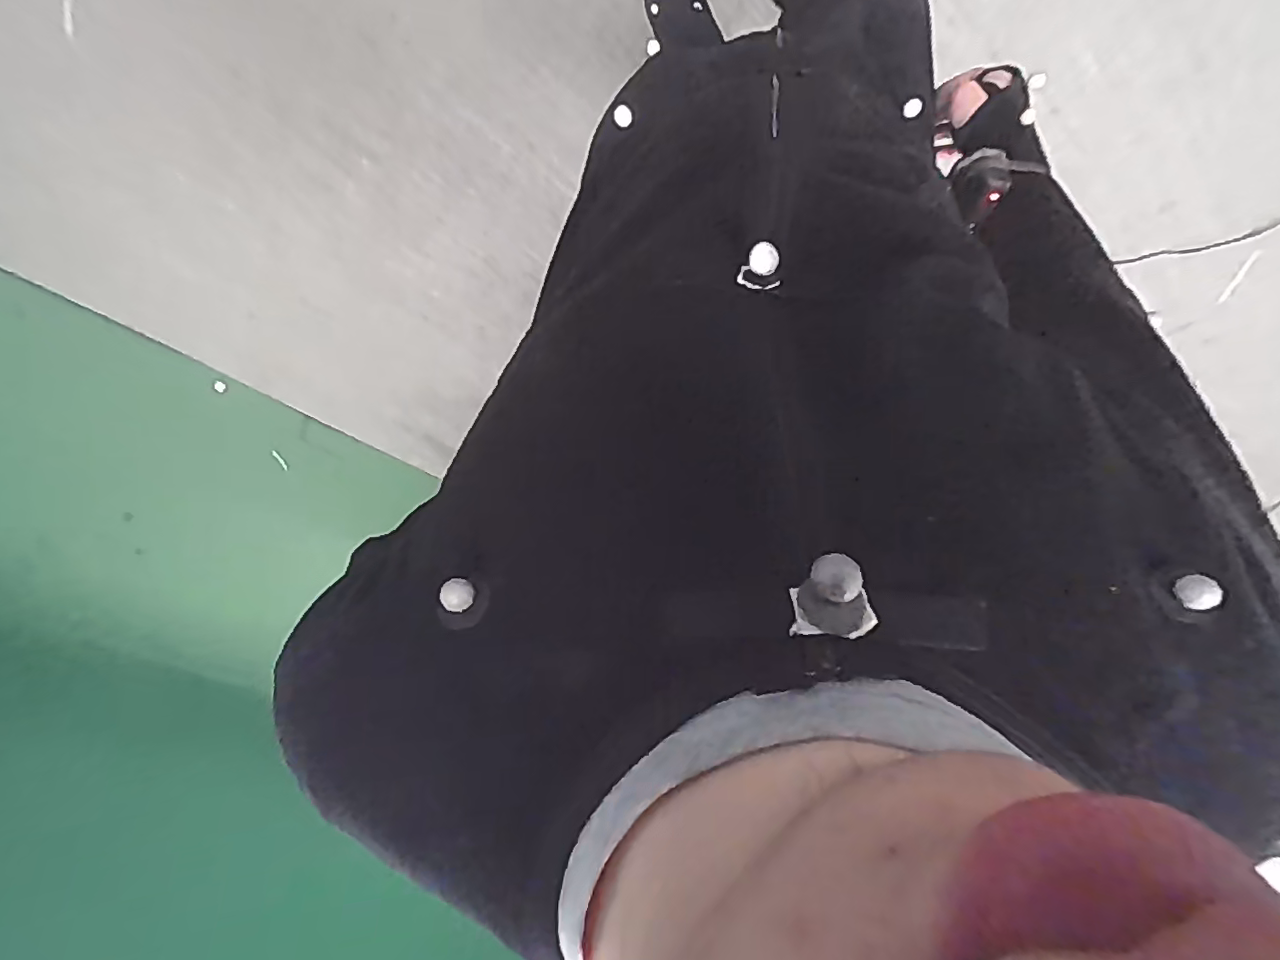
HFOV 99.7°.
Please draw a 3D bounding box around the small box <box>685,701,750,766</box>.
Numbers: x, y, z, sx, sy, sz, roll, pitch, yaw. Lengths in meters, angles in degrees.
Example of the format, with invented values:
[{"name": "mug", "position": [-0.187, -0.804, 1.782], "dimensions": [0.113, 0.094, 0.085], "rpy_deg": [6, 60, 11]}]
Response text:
[{"name": "small box", "position": [0.275, 0.924, 1.972], "dimensions": [0.168, 0.176, 0.179], "rpy_deg": [26, 134, -23]}]
